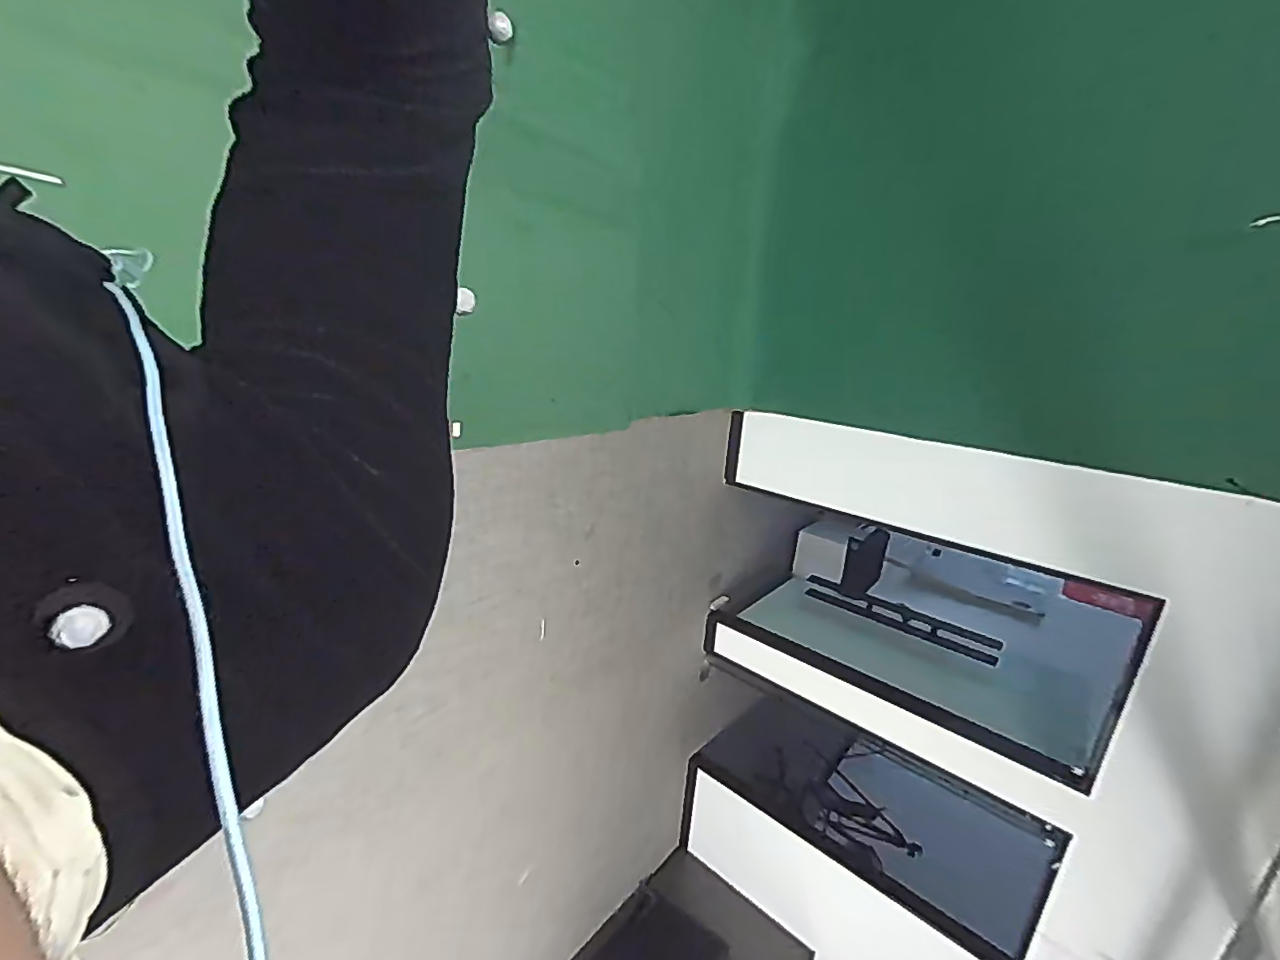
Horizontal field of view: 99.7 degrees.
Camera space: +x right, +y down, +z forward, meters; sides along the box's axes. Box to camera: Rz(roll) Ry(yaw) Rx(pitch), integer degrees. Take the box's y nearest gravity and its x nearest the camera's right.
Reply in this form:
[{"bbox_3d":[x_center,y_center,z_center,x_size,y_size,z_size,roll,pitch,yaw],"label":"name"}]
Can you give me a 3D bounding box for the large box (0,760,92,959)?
[{"bbox_3d":[-1.418,0.862,1.069,0.408,0.320,0.320,-16,116,-48],"label":"large box"}]
